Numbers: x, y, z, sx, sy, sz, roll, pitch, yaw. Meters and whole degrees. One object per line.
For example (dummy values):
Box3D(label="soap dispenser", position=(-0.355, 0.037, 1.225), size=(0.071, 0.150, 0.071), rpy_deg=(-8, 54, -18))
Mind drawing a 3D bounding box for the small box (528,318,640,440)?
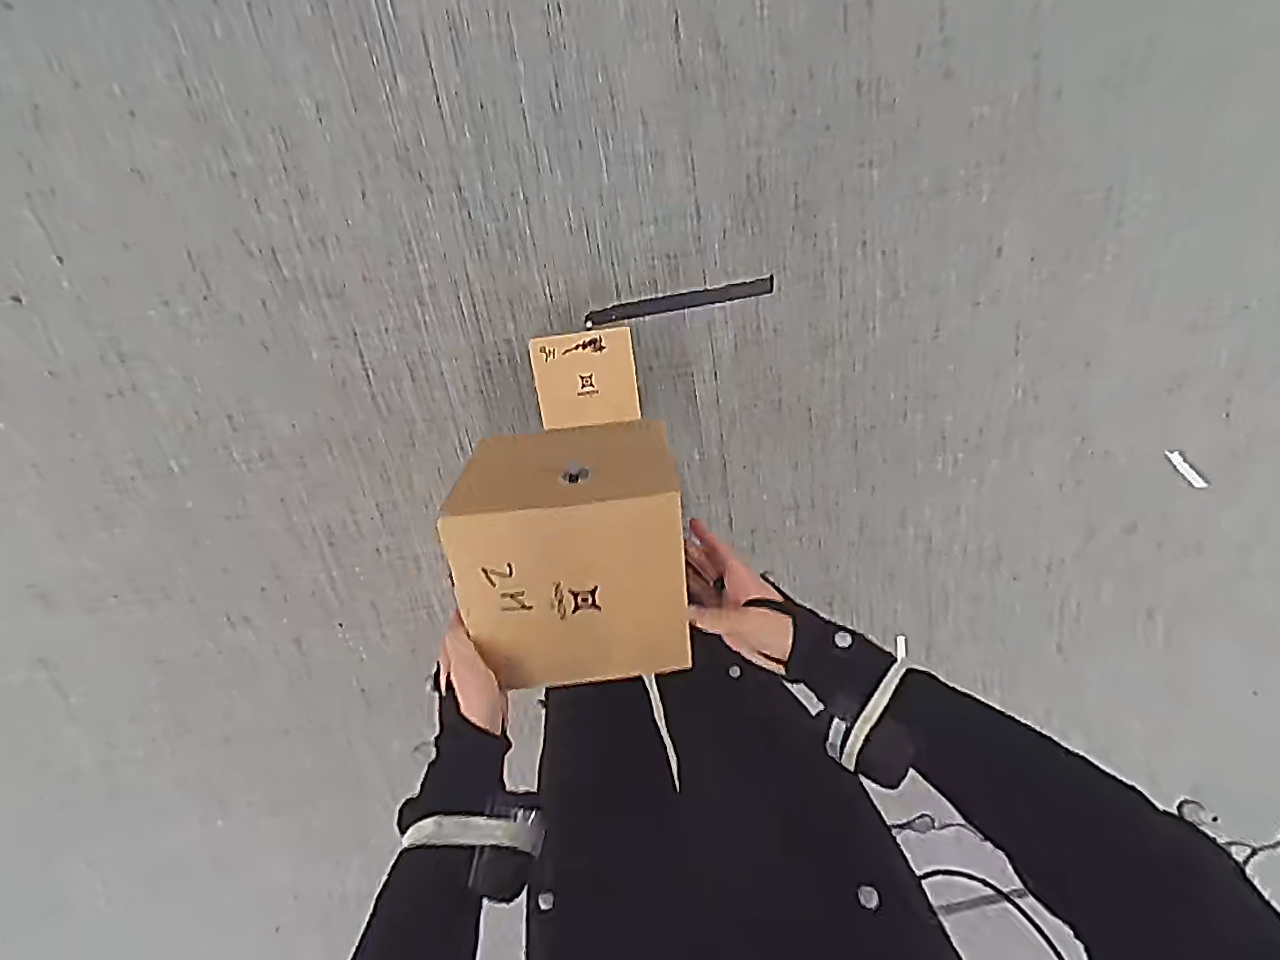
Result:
Box3D(label="small box", position=(-0.096, -0.184, 0.955), size=(0.168, 0.176, 0.179), rpy_deg=(-8, 110, -4))
